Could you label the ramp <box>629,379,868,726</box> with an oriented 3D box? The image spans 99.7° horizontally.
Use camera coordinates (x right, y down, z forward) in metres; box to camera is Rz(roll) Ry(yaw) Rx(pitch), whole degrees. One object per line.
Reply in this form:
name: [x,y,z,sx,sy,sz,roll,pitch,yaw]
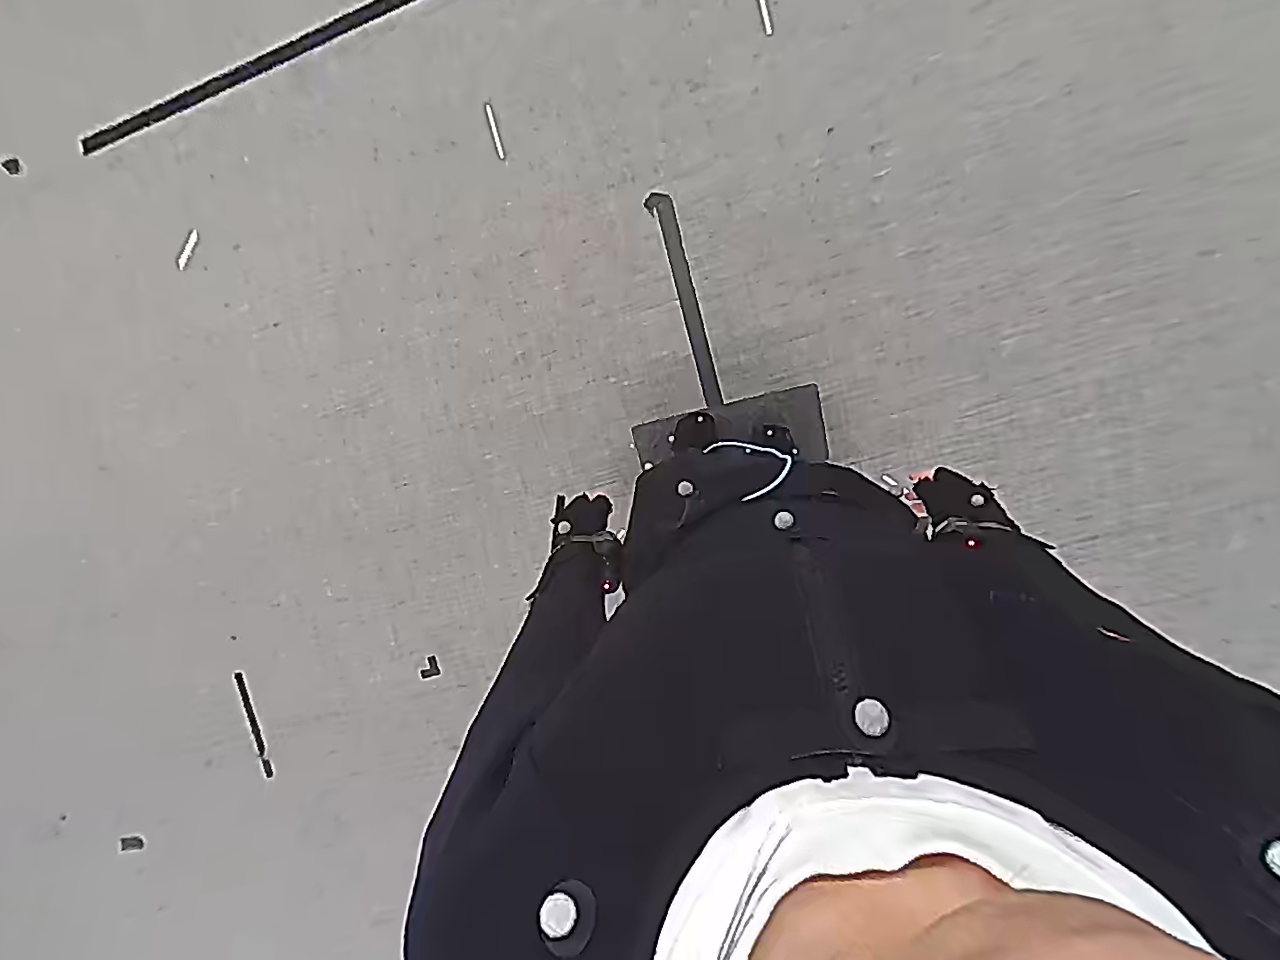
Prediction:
ramp: [0.329,0.255,1.530,0.509,0.206,0.991,-15,95,8]
